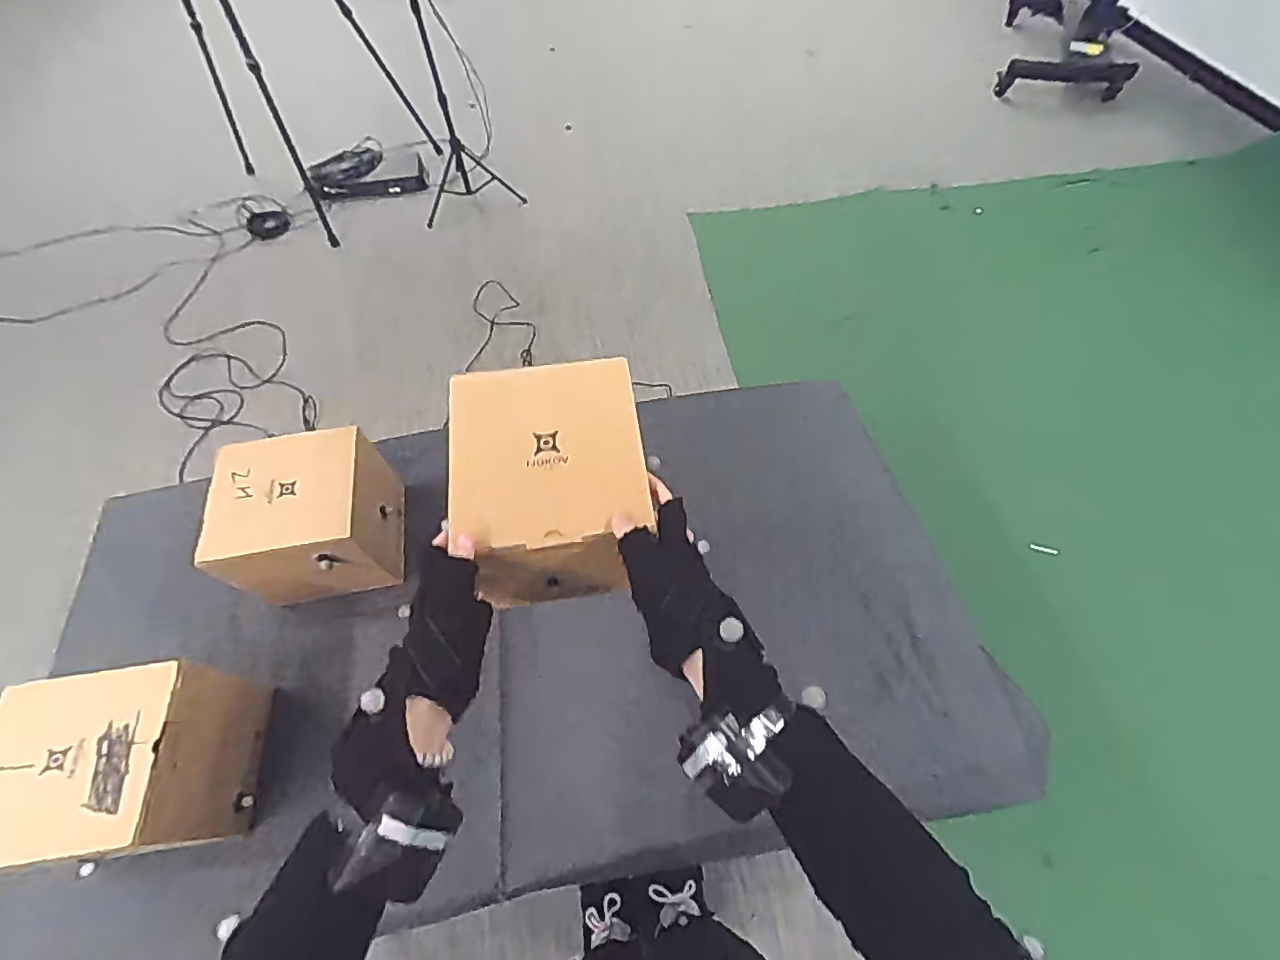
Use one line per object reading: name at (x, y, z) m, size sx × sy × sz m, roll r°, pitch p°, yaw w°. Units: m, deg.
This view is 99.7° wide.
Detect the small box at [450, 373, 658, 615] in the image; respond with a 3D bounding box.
small box at (-0.080, 0.020, 0.533) m, size 0.168 × 0.176 × 0.179 m, roll -7°, pitch 65°, yaw -5°

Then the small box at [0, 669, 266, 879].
small box at (-0.548, 0.314, 0.581) m, size 0.179 × 0.176 × 0.168 m, roll -7°, pitch 59°, yaw -4°

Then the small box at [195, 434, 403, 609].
small box at (-0.438, 0.061, 0.732) m, size 0.179 × 0.176 × 0.168 m, roll -9°, pitch 60°, yaw -6°
